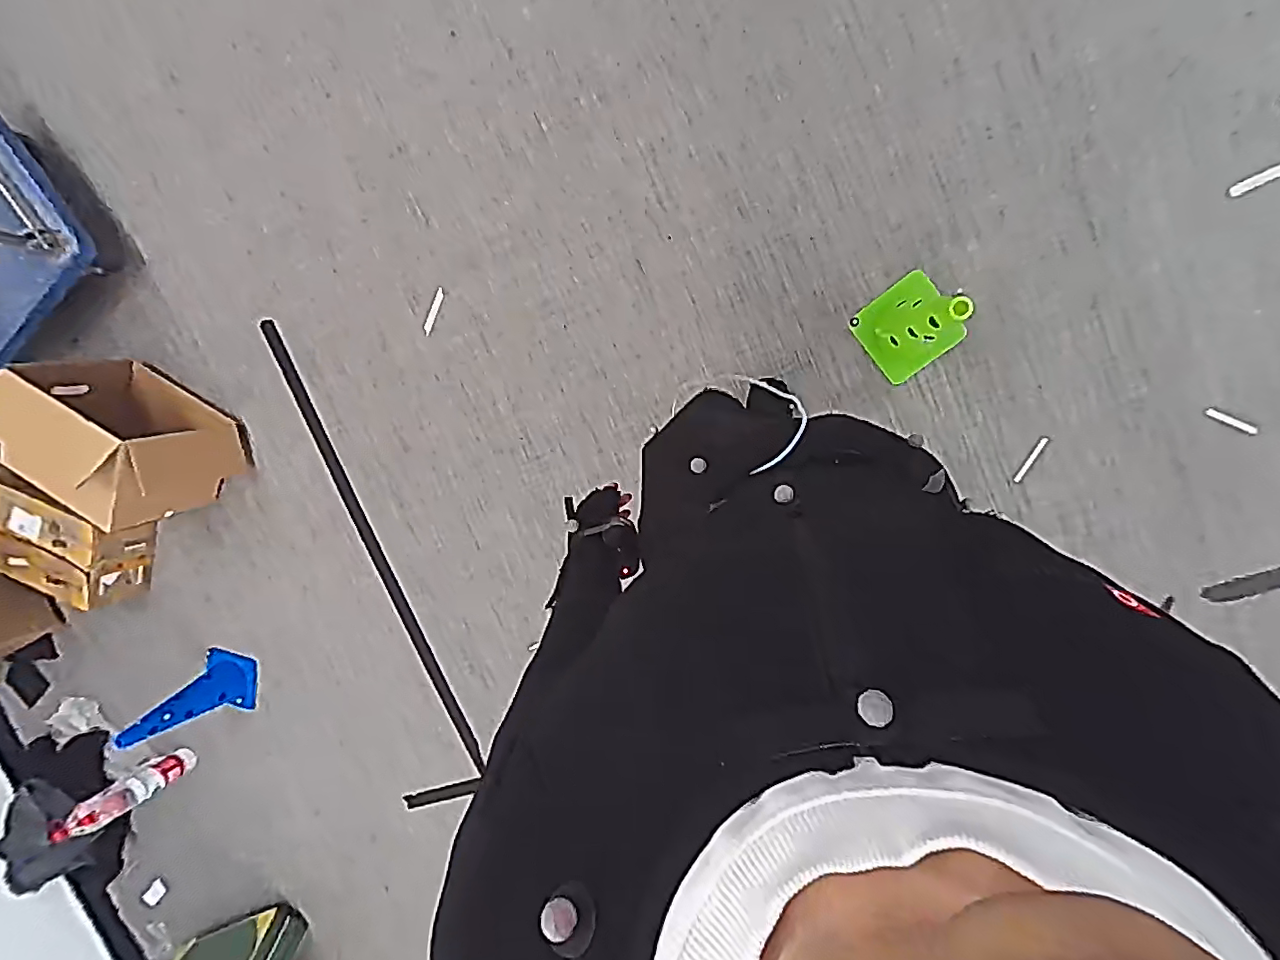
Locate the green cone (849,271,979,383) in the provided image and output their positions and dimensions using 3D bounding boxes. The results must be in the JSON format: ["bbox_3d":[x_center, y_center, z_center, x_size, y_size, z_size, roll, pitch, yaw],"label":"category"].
[{"bbox_3d":[0.599,-0.331,1.114,0.202,0.368,0.200,-38,91,14],"label":"green cone"}]
